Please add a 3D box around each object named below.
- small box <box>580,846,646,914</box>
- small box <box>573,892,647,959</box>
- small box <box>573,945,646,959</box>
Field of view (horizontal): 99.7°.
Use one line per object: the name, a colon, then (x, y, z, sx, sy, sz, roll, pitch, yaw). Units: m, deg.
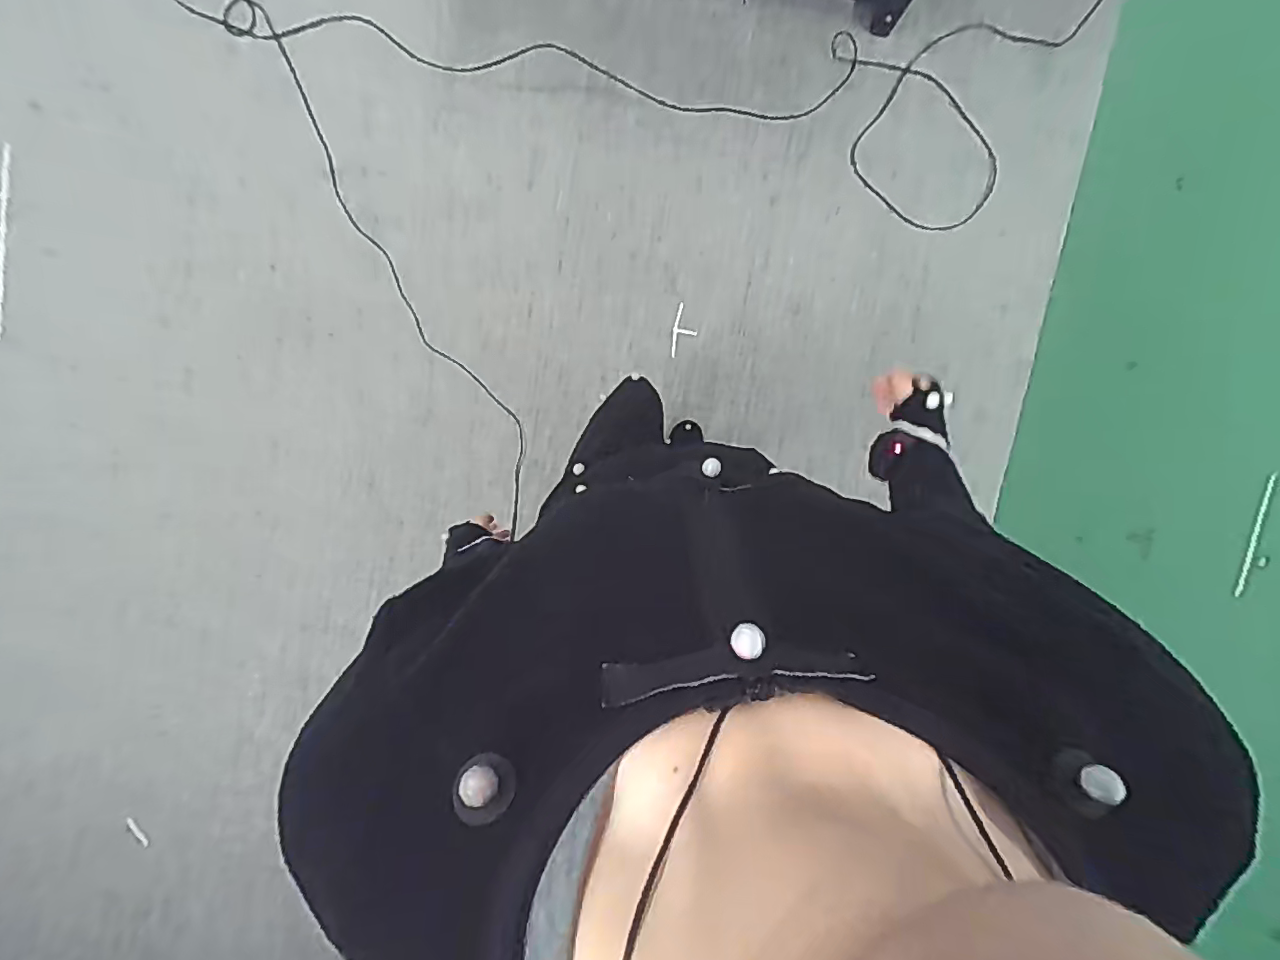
small box: (-0.082, 1.181, 1.540, 0.179, 0.176, 0.168, 5, 96, -4)
small box: (-0.080, 1.193, 1.377, 0.179, 0.176, 0.168, 4, 96, -3)
small box: (-0.078, 1.194, 1.210, 0.179, 0.176, 0.168, 6, 97, -3)
